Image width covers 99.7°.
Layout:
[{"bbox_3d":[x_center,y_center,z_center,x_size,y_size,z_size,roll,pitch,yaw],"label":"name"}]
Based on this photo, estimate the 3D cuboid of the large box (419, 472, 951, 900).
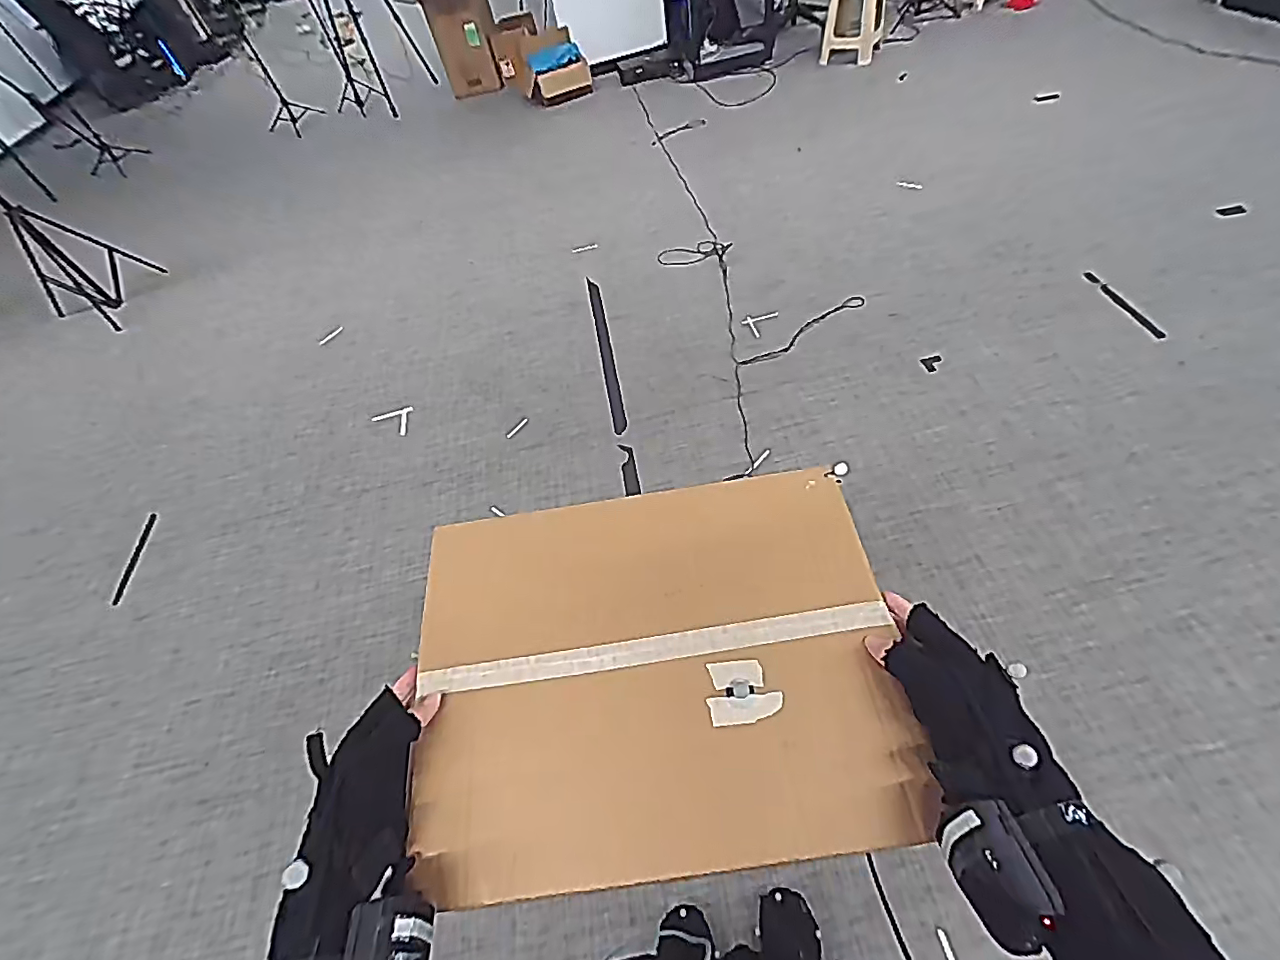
[{"bbox_3d":[0.026,0.230,0.597,0.408,0.320,0.320,-9,56,0],"label":"large box"}]
